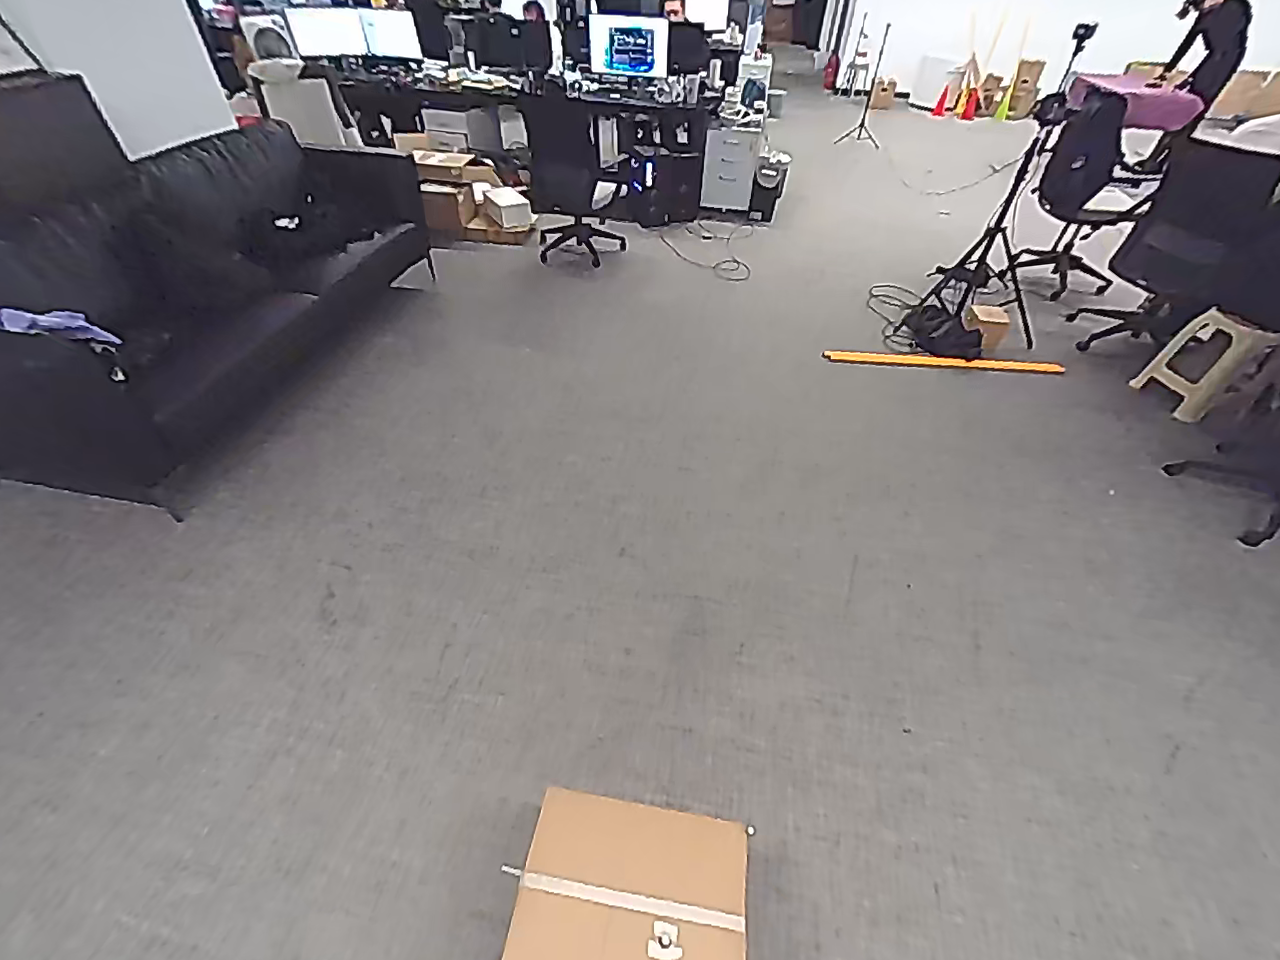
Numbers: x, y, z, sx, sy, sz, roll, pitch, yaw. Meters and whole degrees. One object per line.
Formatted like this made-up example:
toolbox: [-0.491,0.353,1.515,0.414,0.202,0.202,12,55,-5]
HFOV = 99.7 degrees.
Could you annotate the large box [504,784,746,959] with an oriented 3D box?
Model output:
large box: [-0.018,0.850,1.066,0.408,0.320,0.320,8,44,6]
